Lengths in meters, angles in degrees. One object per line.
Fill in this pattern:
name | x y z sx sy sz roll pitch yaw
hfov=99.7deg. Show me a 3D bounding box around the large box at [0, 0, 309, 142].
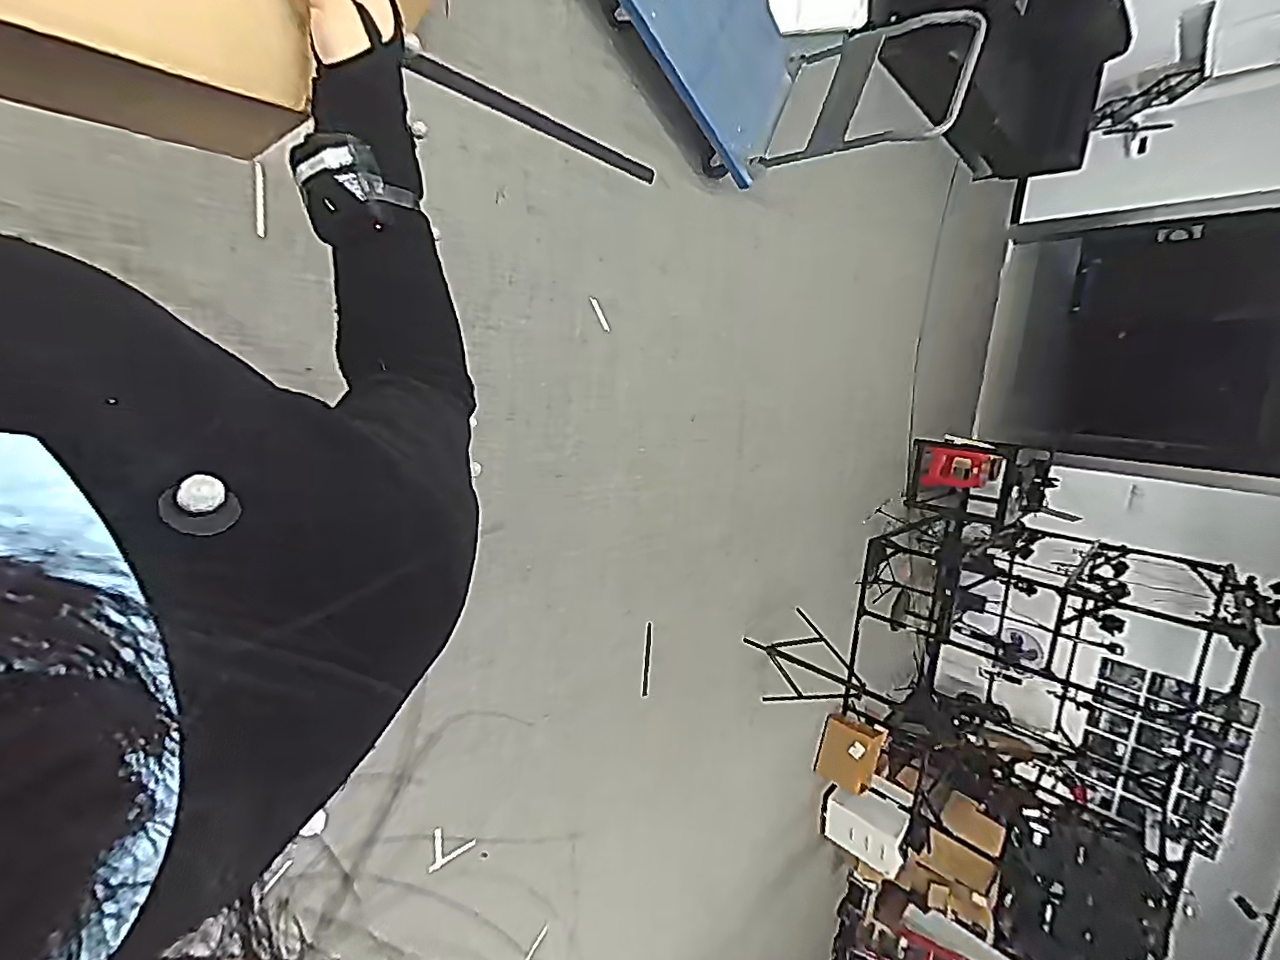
large box | -0.480 -0.462 0.350 0.408 0.320 0.320 -7 111 -41
